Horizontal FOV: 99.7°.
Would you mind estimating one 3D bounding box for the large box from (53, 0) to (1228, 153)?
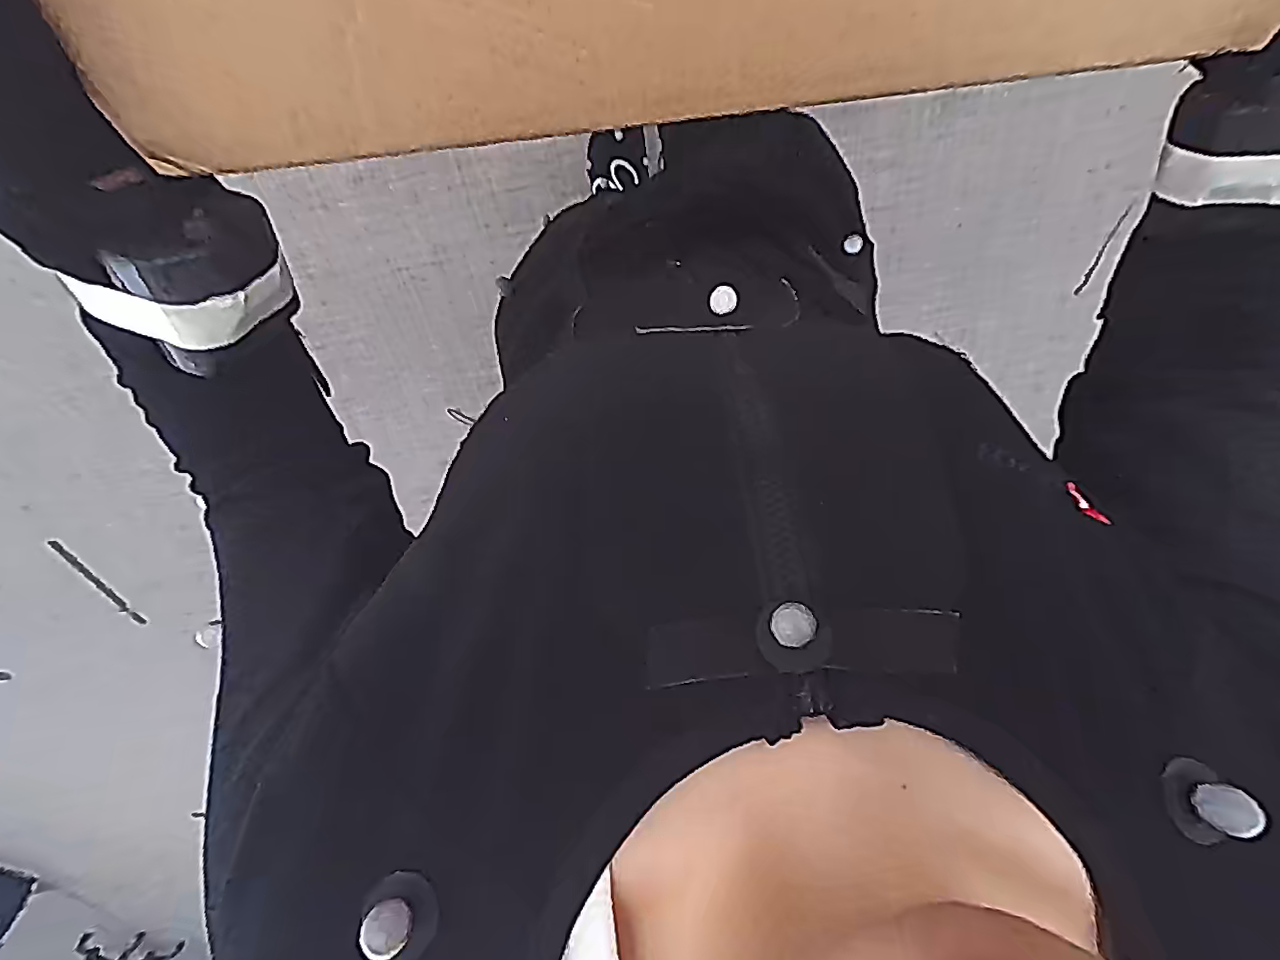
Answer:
[{"bbox_3d":[-0.002,-0.351,0.149,0.408,0.320,0.320,-6,149,-1],"label":"large box"}]
